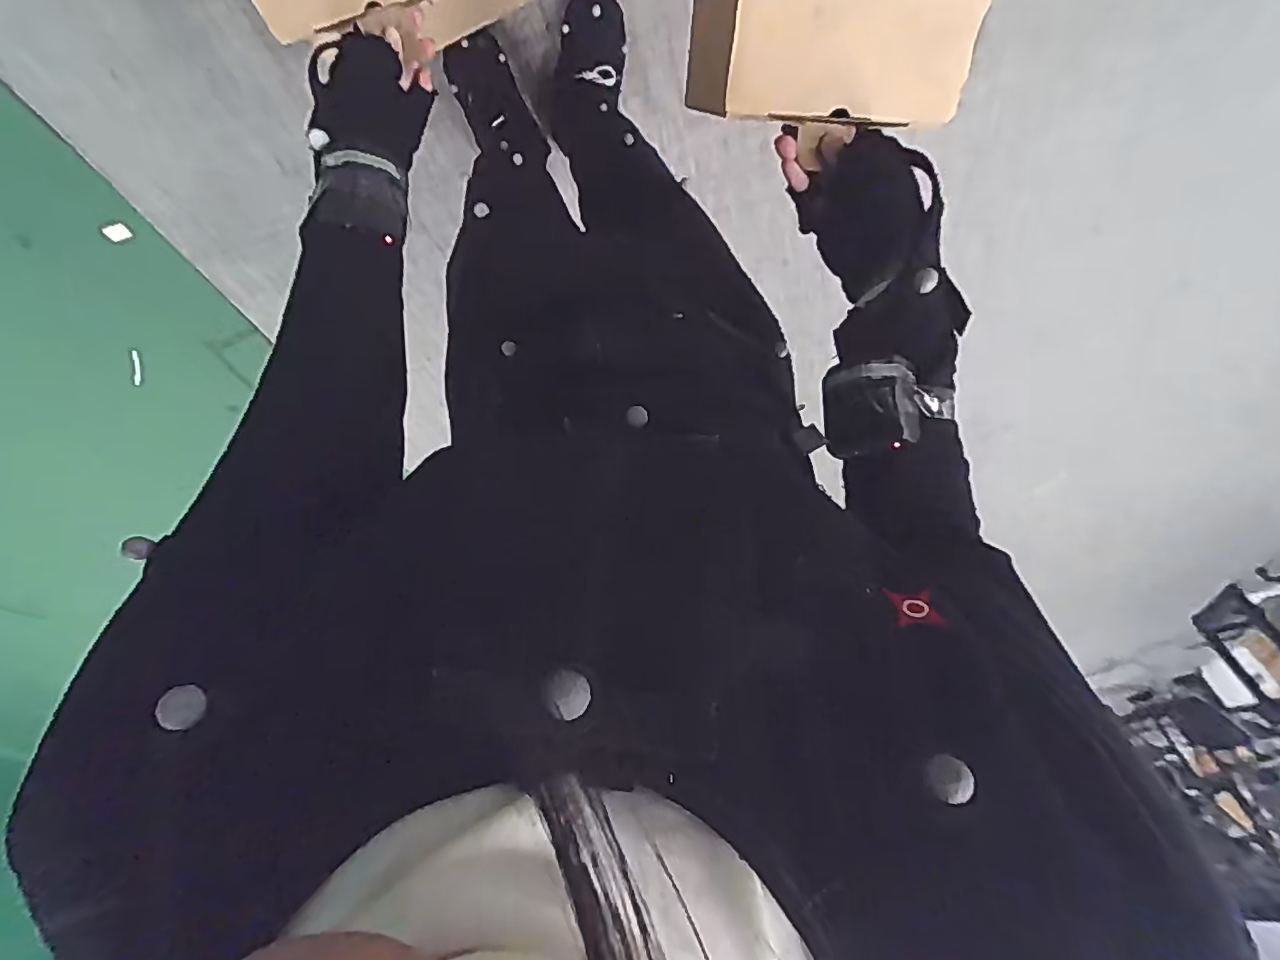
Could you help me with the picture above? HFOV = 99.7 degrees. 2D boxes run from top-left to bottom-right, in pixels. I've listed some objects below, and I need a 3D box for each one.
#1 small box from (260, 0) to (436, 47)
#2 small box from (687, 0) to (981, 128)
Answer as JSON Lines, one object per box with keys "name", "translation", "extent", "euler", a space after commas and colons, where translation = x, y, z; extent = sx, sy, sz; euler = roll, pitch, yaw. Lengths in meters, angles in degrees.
{"name": "small box", "translation": [-0.233, -0.477, 0.410], "extent": [0.168, 0.176, 0.179], "euler": [-15, 140, 4]}
{"name": "small box", "translation": [0.133, -0.373, 0.393], "extent": [0.168, 0.176, 0.179], "euler": [-1, 127, -7]}
